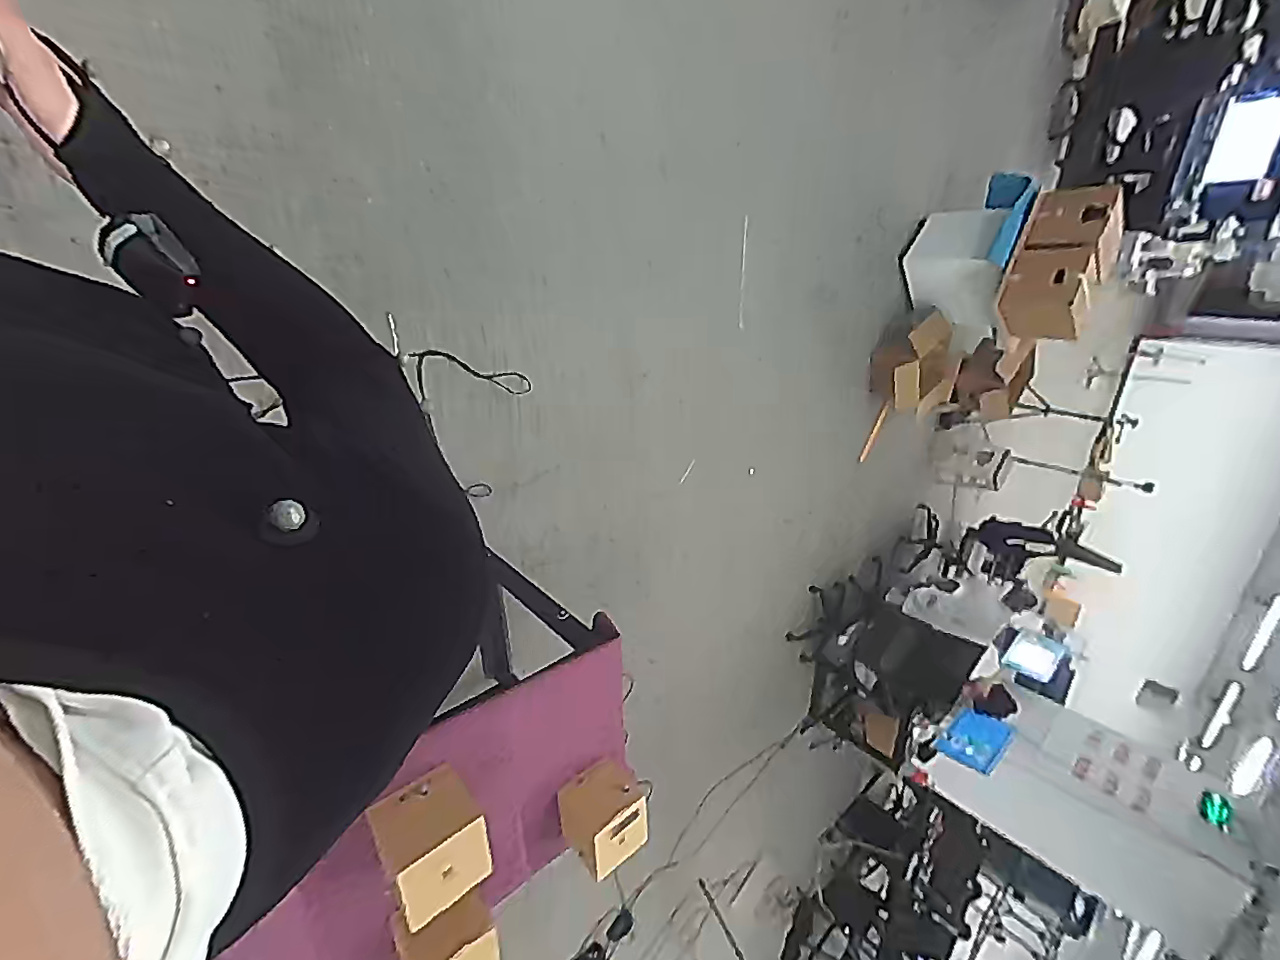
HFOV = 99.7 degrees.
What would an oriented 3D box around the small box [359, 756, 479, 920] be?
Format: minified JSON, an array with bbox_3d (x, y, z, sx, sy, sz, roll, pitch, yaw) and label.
[{"bbox_3d":[-0.440,0.699,1.078,0.168,0.176,0.179,-18,120,-37],"label":"small box"}]

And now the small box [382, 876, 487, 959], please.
[{"bbox_3d":[-0.454,1.003,1.196,0.168,0.176,0.179,-15,115,-37],"label":"small box"}]
